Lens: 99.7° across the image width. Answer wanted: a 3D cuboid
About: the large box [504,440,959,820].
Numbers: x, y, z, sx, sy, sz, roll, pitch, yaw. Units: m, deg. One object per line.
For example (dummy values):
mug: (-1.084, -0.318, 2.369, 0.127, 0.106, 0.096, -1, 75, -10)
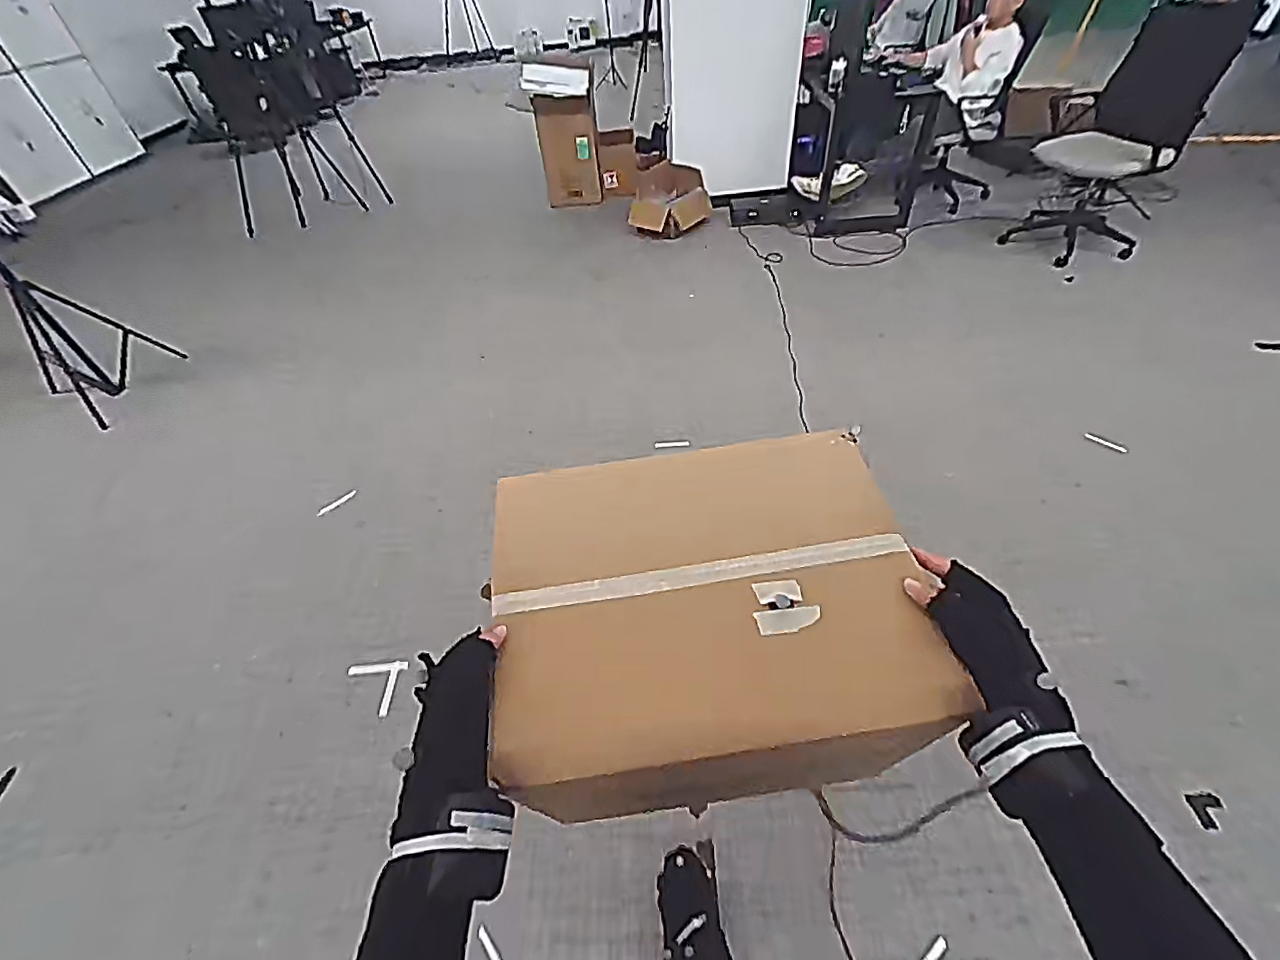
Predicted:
large box: (0.068, 0.191, 0.663, 0.408, 0.320, 0.320, -8, 53, -2)
